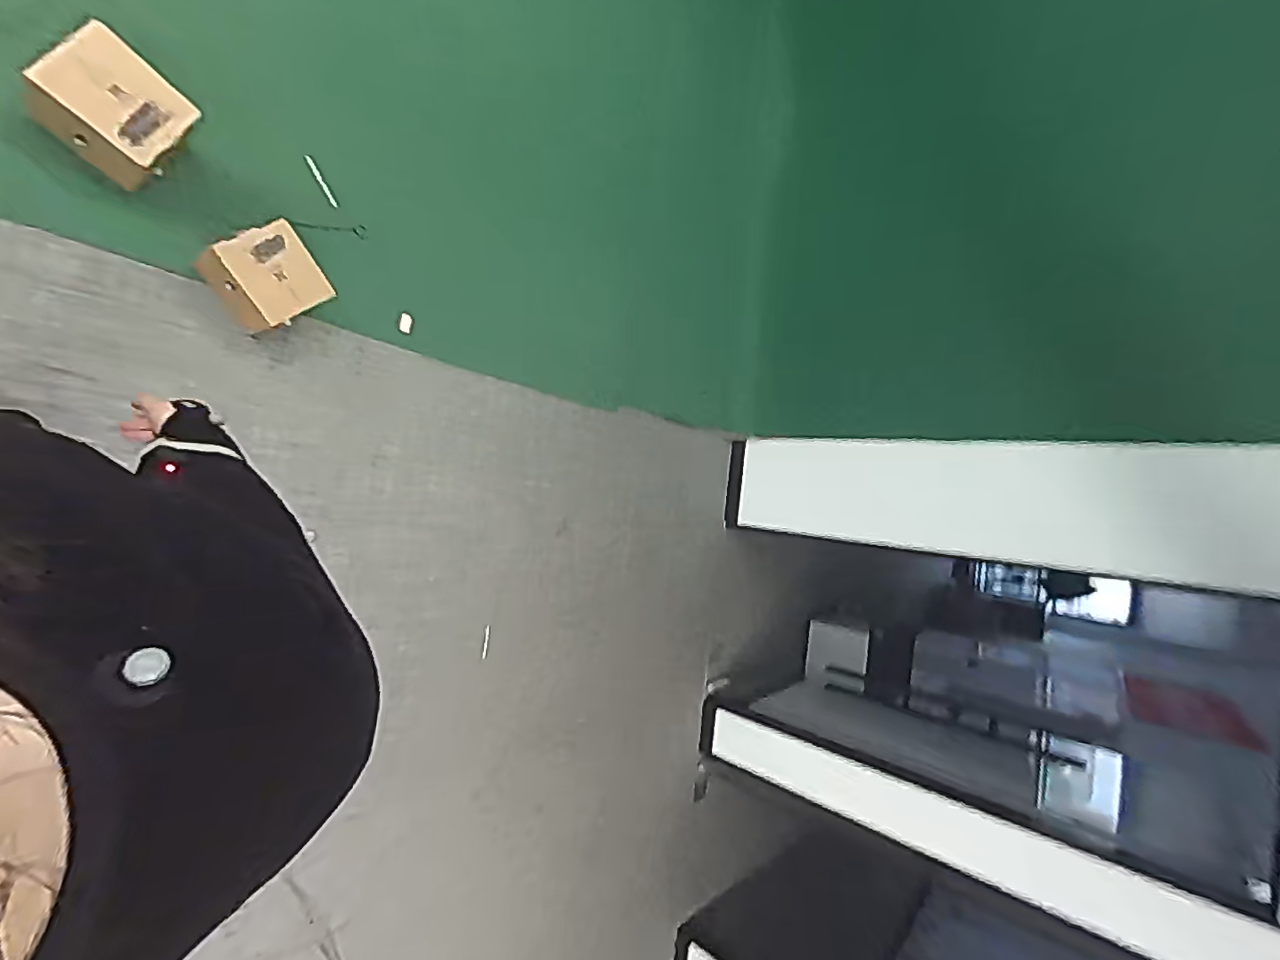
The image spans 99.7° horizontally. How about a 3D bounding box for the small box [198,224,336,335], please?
[{"bbox_3d":[-0.841,-0.445,1.217,0.168,0.176,0.179,-49,129,-35],"label":"small box"}]
